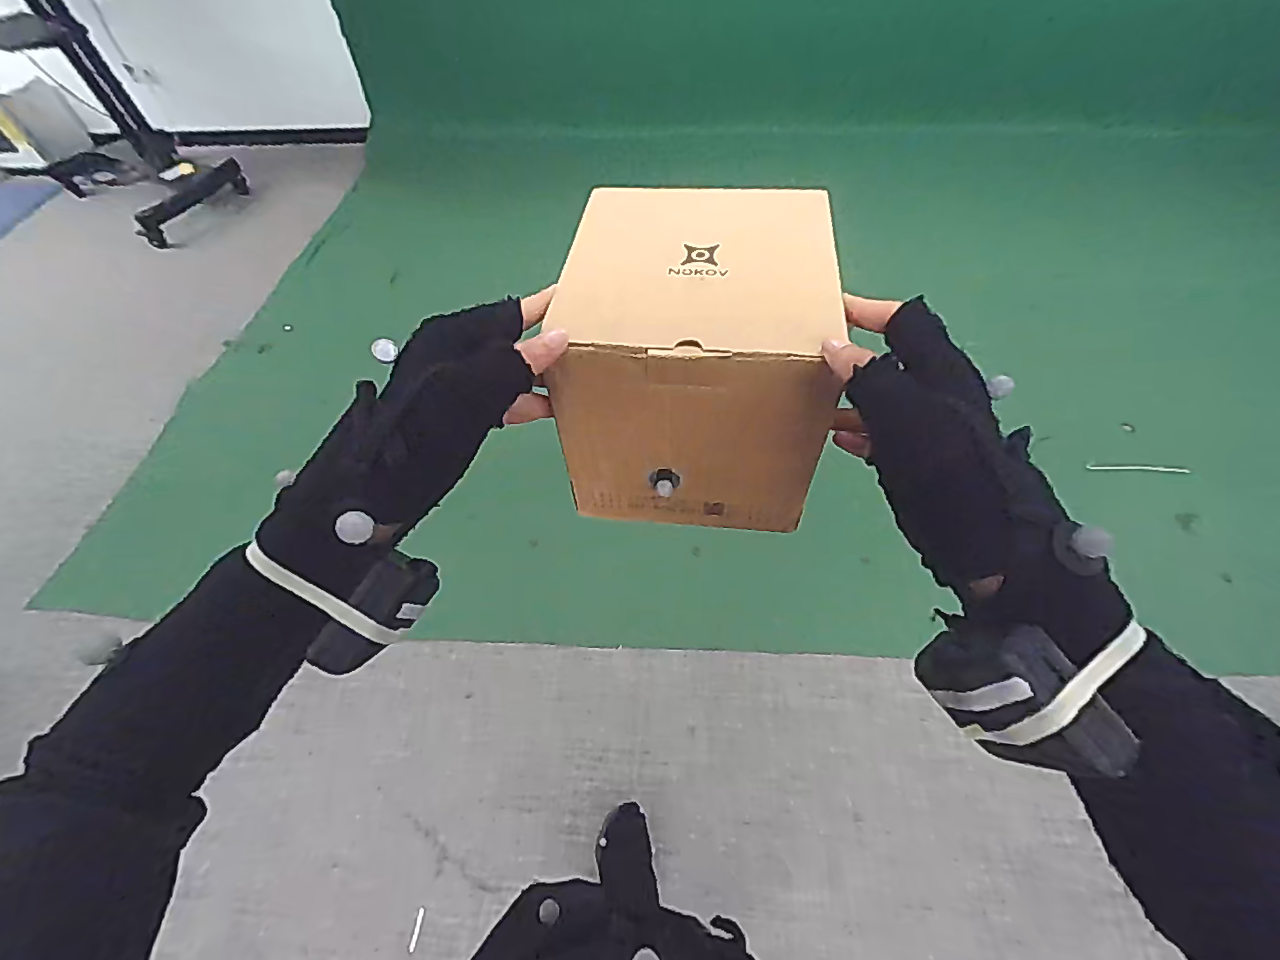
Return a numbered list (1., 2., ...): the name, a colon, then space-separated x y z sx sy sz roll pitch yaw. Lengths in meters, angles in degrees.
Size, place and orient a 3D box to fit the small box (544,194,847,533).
1. small box: 0.041 -0.084 0.400 0.168 0.176 0.179 4 54 7
